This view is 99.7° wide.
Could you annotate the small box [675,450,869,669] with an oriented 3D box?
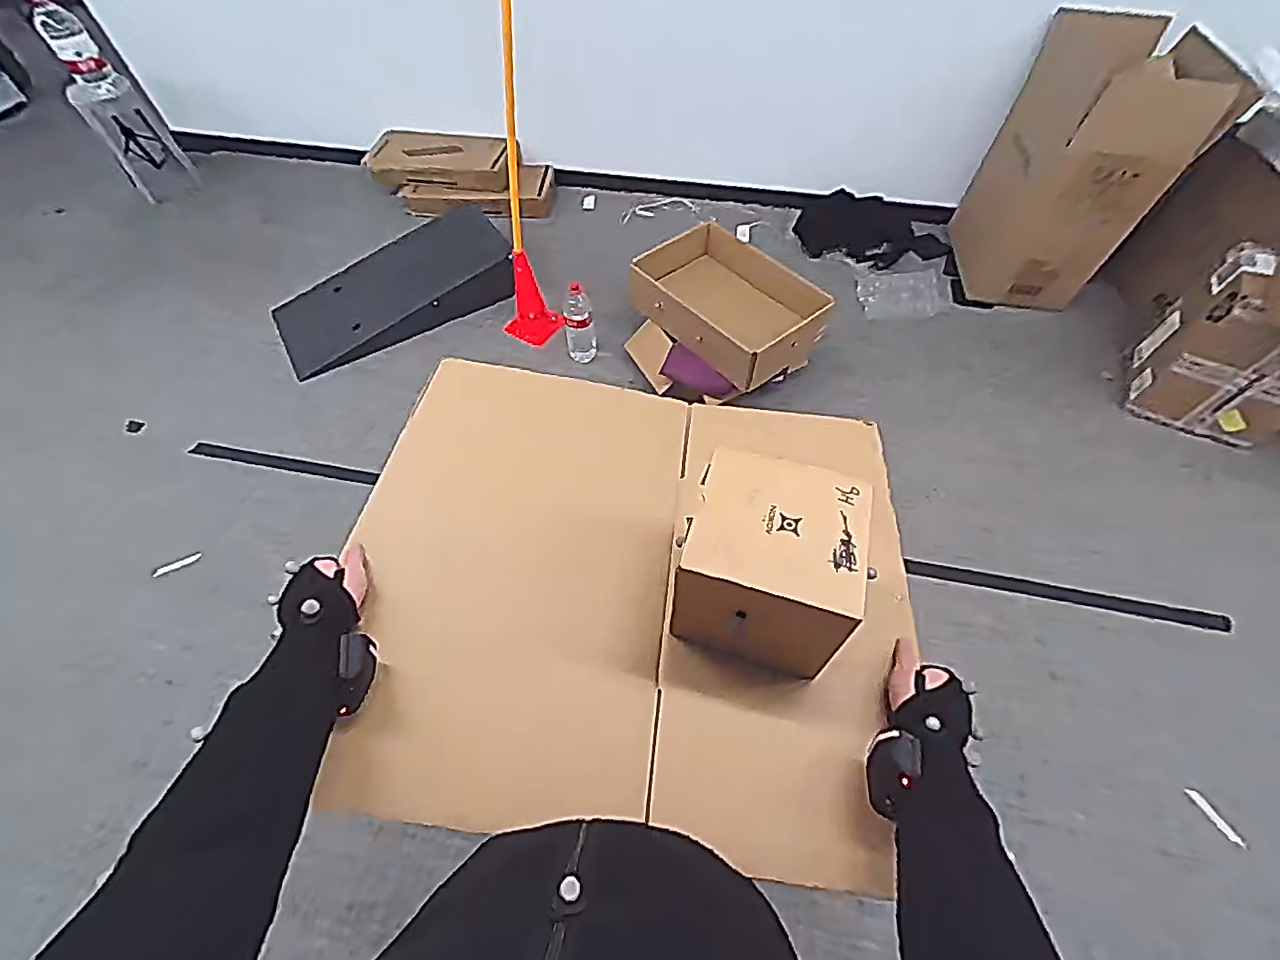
[{"bbox_3d":[0.142,0.095,0.618,0.179,0.176,0.168,14,54,11],"label":"small box"}]
